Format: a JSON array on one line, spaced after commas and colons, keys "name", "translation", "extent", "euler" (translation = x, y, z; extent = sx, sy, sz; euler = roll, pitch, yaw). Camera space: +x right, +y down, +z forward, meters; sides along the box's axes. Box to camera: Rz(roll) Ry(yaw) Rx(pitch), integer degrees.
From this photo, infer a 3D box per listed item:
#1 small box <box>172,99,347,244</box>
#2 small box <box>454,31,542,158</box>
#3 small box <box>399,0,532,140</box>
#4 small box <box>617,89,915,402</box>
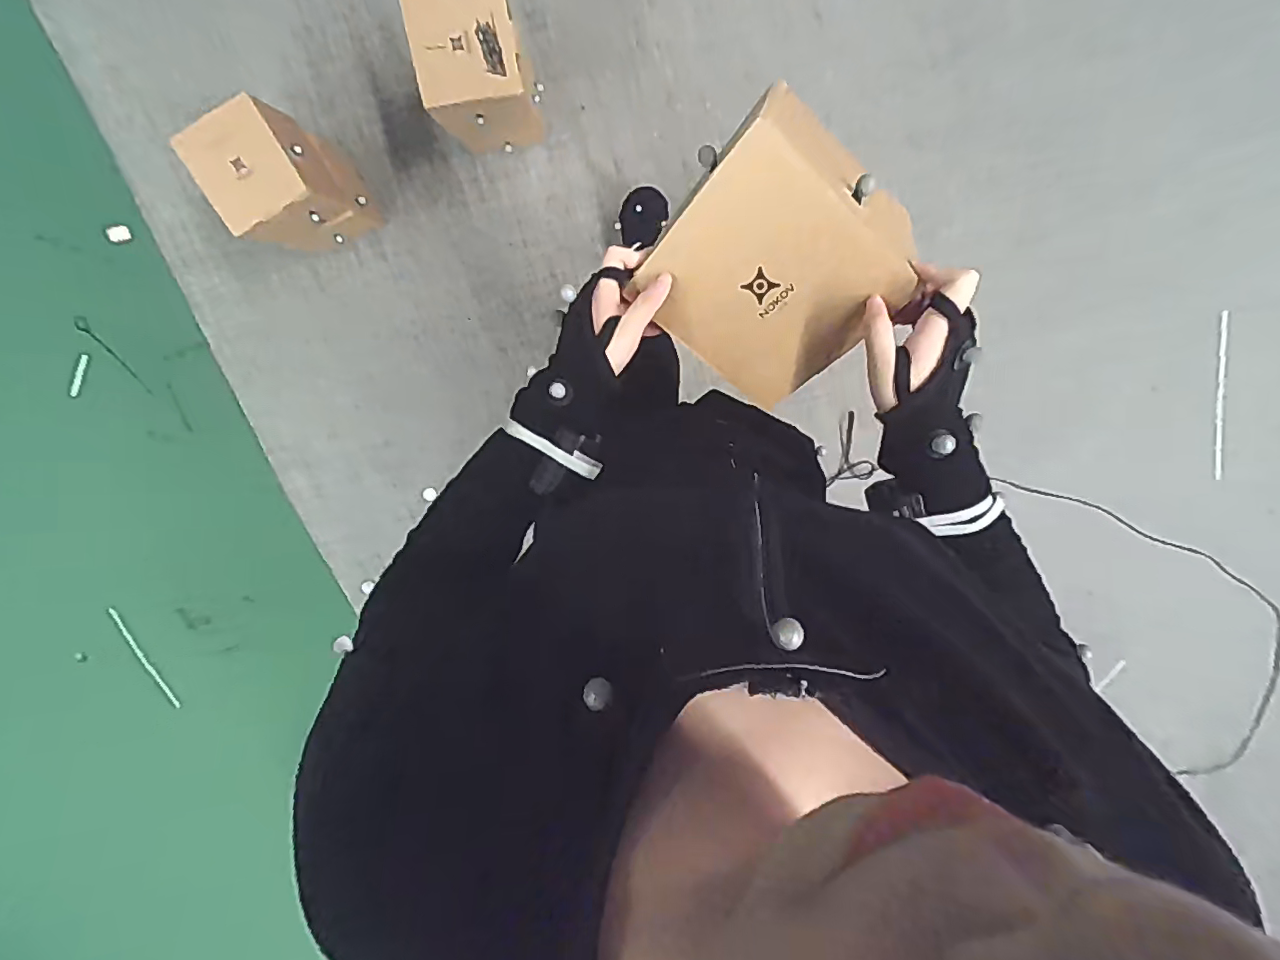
[{"name": "small box", "translation": [-0.700, -0.565, 1.023], "extent": [0.168, 0.176, 0.179], "euler": [-26, 106, 5]}, {"name": "small box", "translation": [-0.309, -0.800, 1.135], "extent": [0.179, 0.176, 0.168], "euler": [-9, 107, 0]}, {"name": "small box", "translation": [-0.301, -0.742, 0.980], "extent": [0.179, 0.176, 0.168], "euler": [-8, 108, 2]}, {"name": "small box", "translation": [0.110, -0.212, 0.487], "extent": [0.179, 0.176, 0.168], "euler": [35, 134, -16]}]
